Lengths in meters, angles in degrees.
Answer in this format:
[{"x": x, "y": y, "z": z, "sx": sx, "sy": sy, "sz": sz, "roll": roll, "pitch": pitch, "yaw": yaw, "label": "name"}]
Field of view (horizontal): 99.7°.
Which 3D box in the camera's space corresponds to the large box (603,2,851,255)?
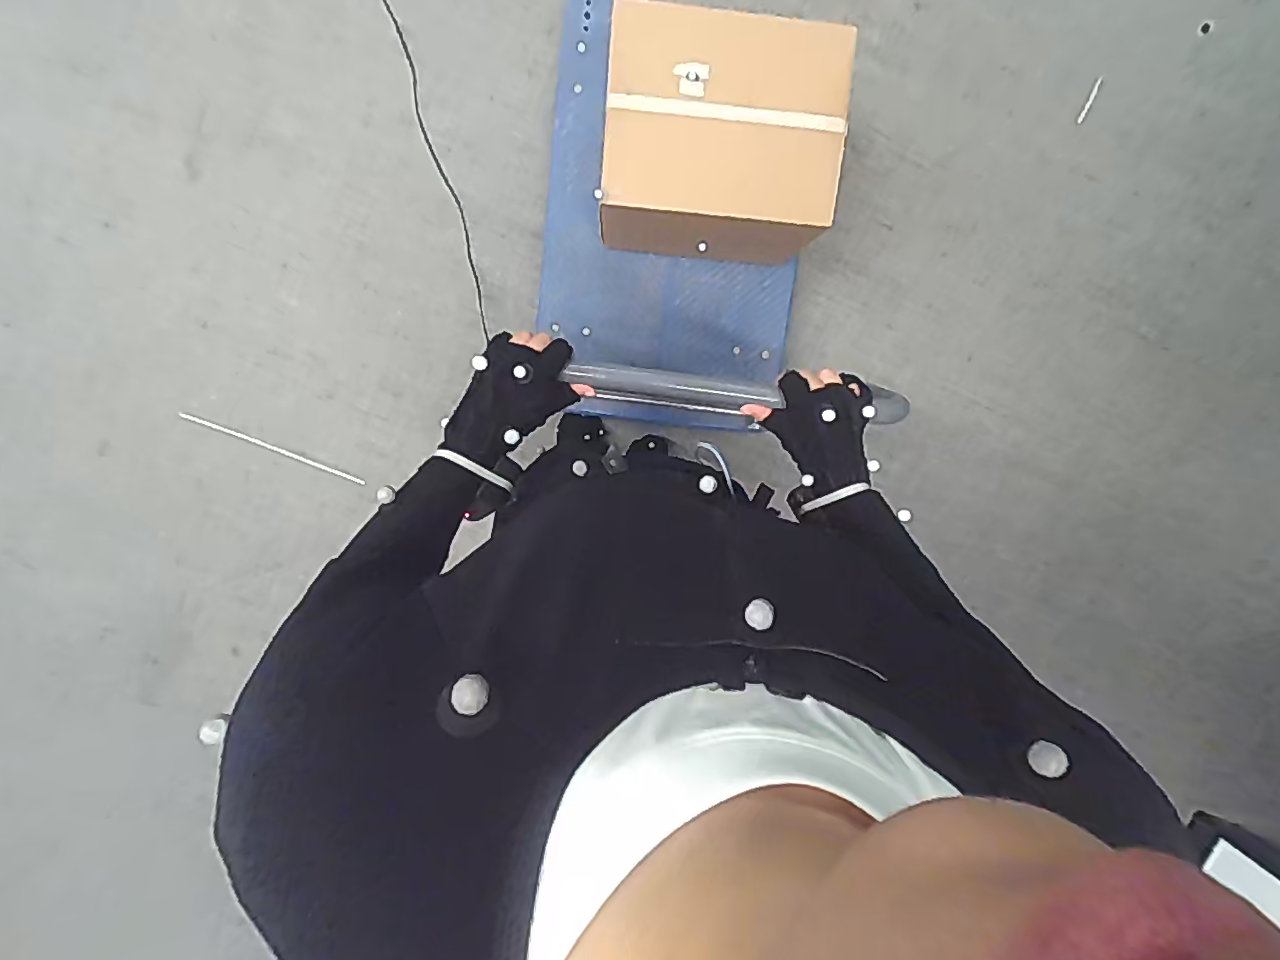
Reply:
[{"x": 0.140, "y": -0.638, "z": 1.050, "sx": 0.408, "sy": 0.320, "sz": 0.320, "roll": 3, "pitch": 99, "yaw": -3, "label": "large box"}]
